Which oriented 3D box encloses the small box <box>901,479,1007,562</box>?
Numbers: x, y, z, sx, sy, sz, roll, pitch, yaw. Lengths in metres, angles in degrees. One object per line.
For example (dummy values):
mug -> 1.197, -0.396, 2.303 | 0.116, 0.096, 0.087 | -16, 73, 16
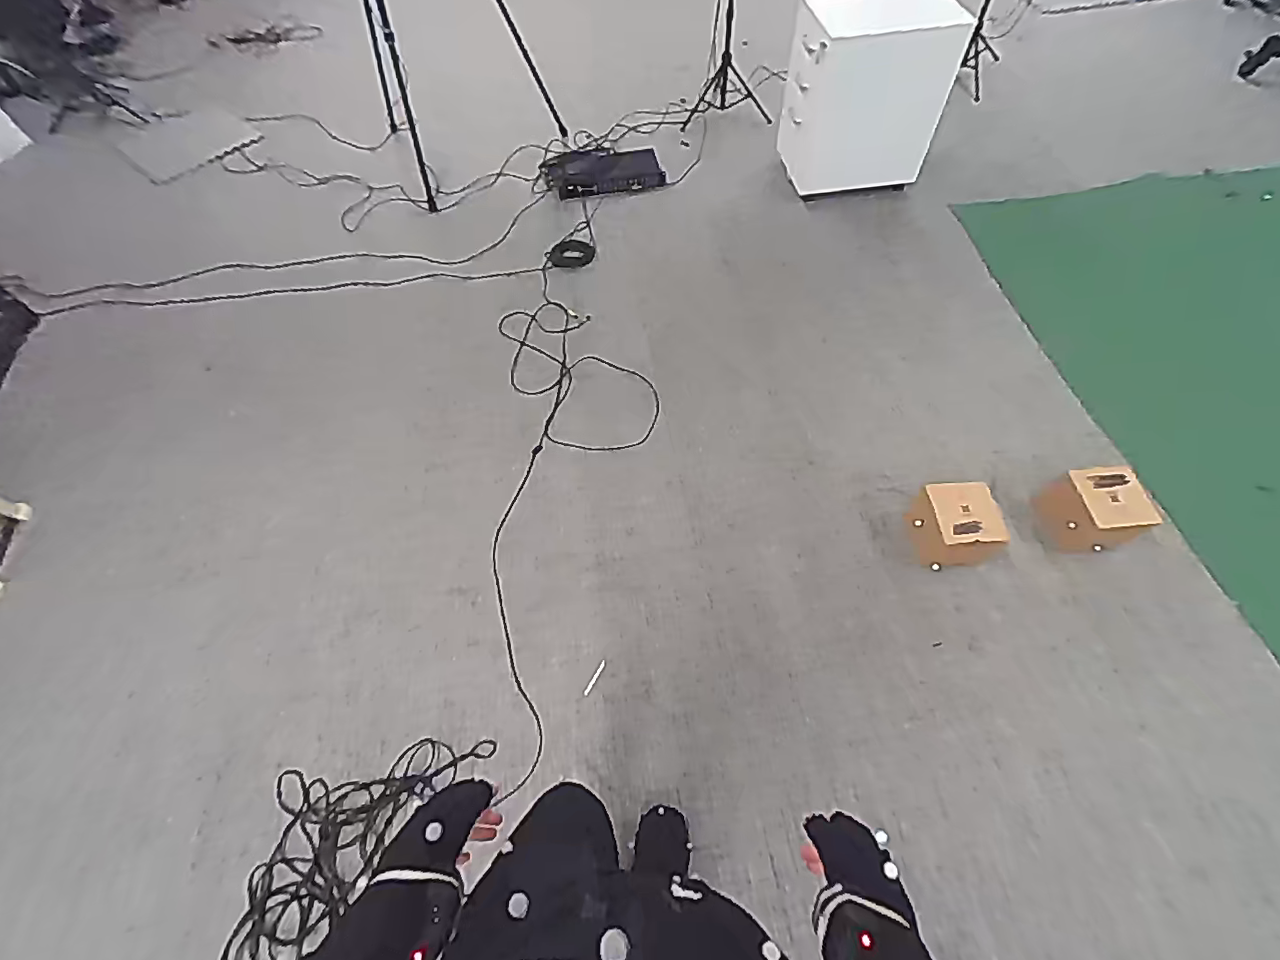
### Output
small box -> 0.834, 0.116, 1.457 | 0.168, 0.176, 0.179 | -3, 58, 0
